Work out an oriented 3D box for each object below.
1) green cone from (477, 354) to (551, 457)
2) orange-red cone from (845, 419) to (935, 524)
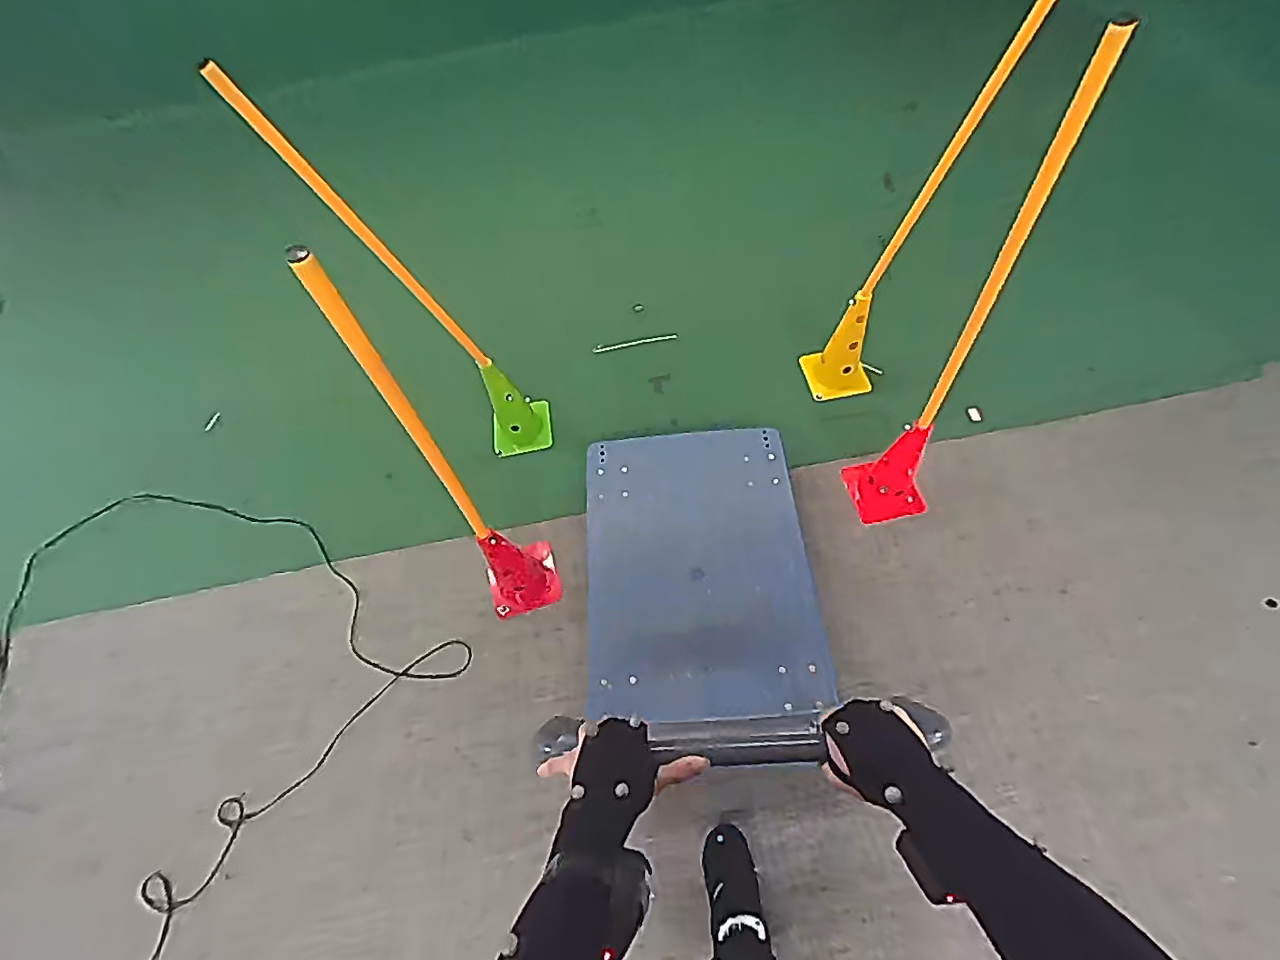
[{"bbox_3d":[-0.427,-0.259,1.714,0.200,0.368,0.202,-12,60,1],"label":"green cone"},{"bbox_3d":[0.721,-0.050,1.479,0.198,0.360,0.199,-11,59,-1],"label":"orange-red cone"}]
